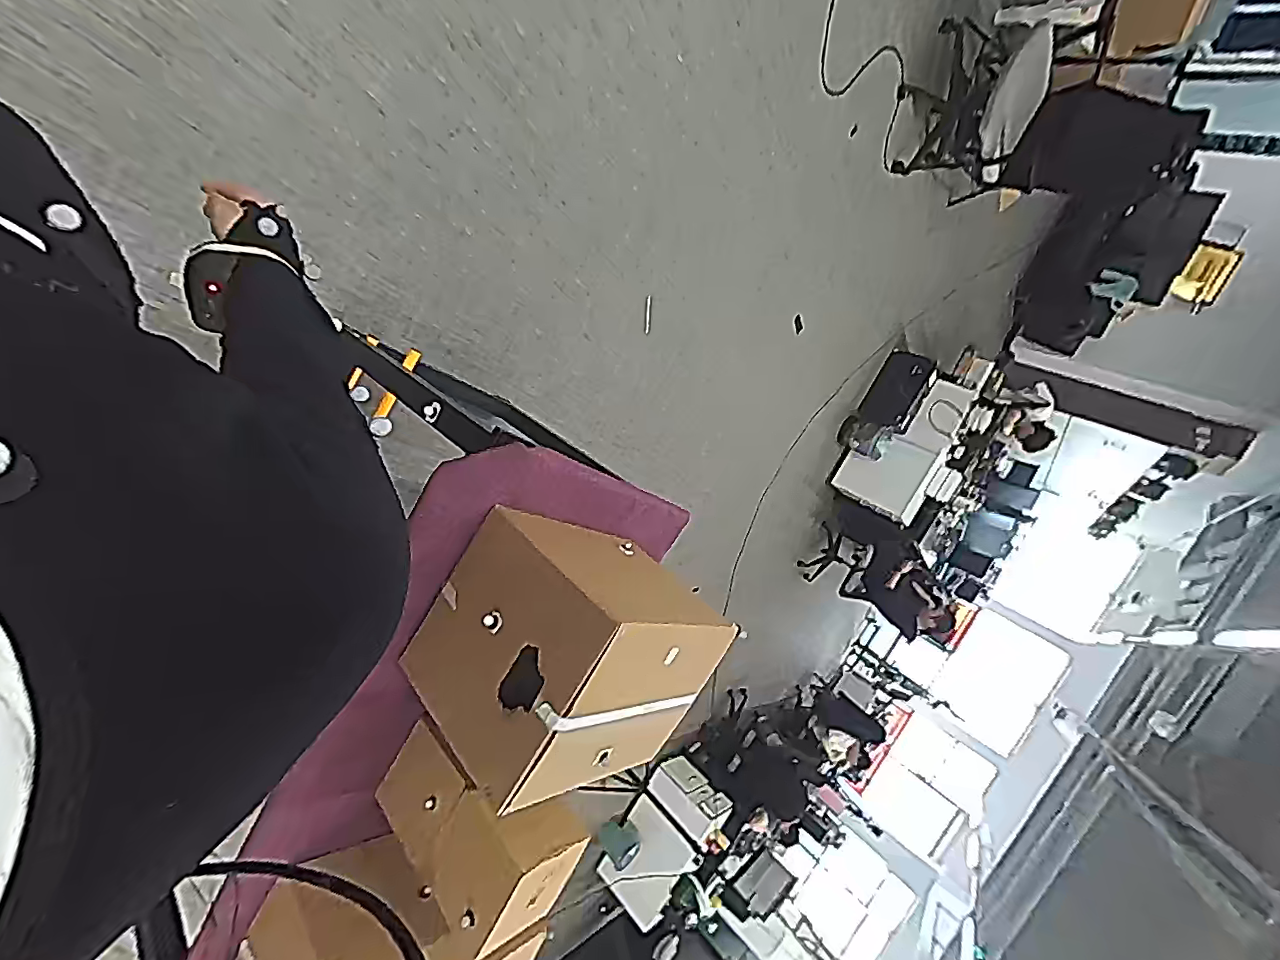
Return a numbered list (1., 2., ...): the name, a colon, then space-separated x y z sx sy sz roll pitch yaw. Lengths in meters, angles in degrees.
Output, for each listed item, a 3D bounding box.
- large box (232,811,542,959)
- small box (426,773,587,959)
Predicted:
1. large box: -0.469 0.890 0.978 0.320 0.320 0.408 -59 147 4
2. small box: -0.227 0.635 0.903 0.168 0.176 0.179 20 100 -56
